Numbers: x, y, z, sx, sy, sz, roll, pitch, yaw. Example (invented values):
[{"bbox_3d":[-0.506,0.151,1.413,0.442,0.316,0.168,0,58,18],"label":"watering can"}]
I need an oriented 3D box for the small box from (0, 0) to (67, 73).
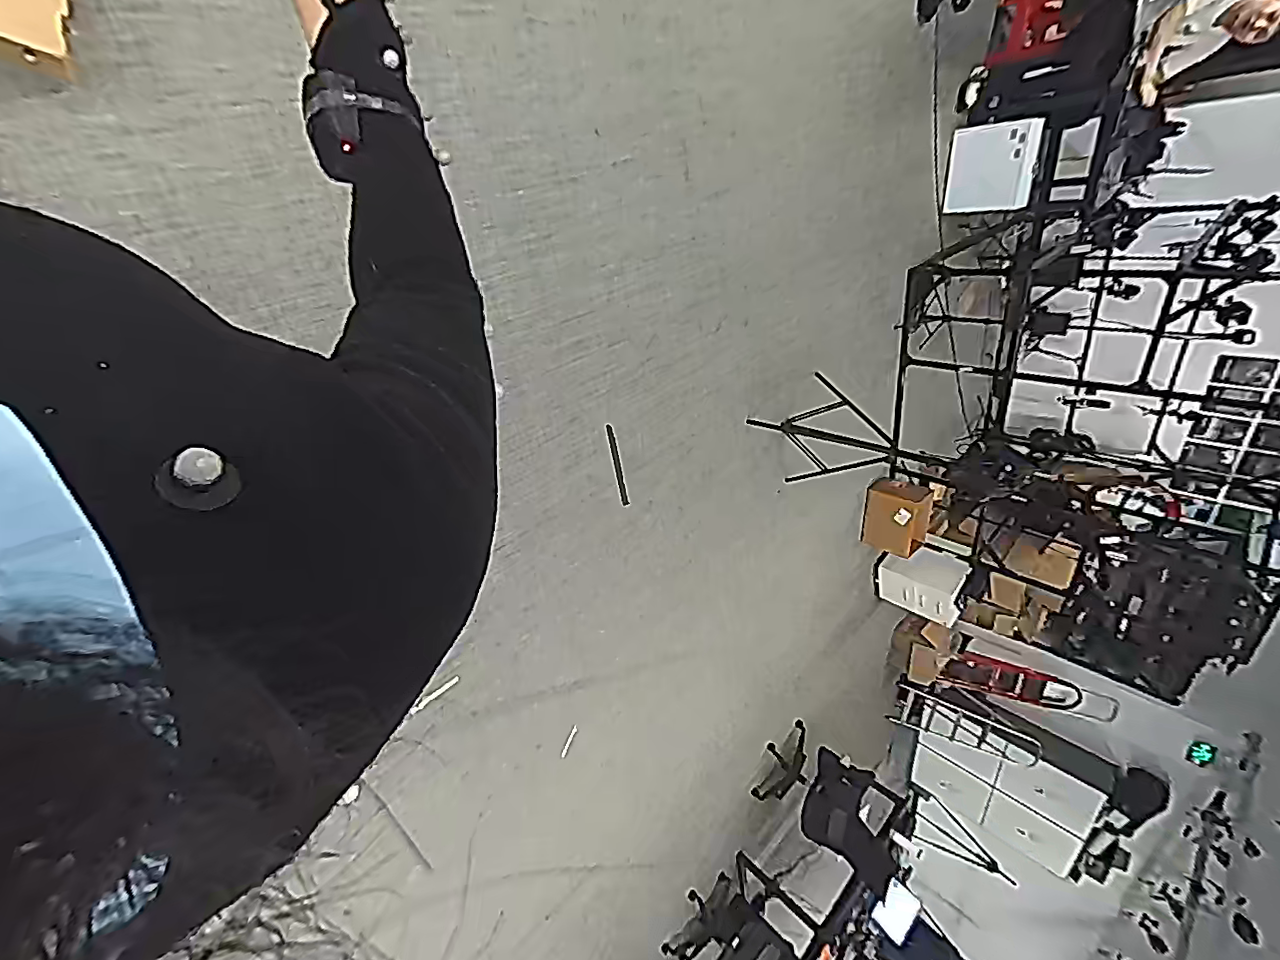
[{"bbox_3d":[-0.992,-0.751,0.808,0.179,0.176,0.168,-3,108,-45],"label":"small box"}]
